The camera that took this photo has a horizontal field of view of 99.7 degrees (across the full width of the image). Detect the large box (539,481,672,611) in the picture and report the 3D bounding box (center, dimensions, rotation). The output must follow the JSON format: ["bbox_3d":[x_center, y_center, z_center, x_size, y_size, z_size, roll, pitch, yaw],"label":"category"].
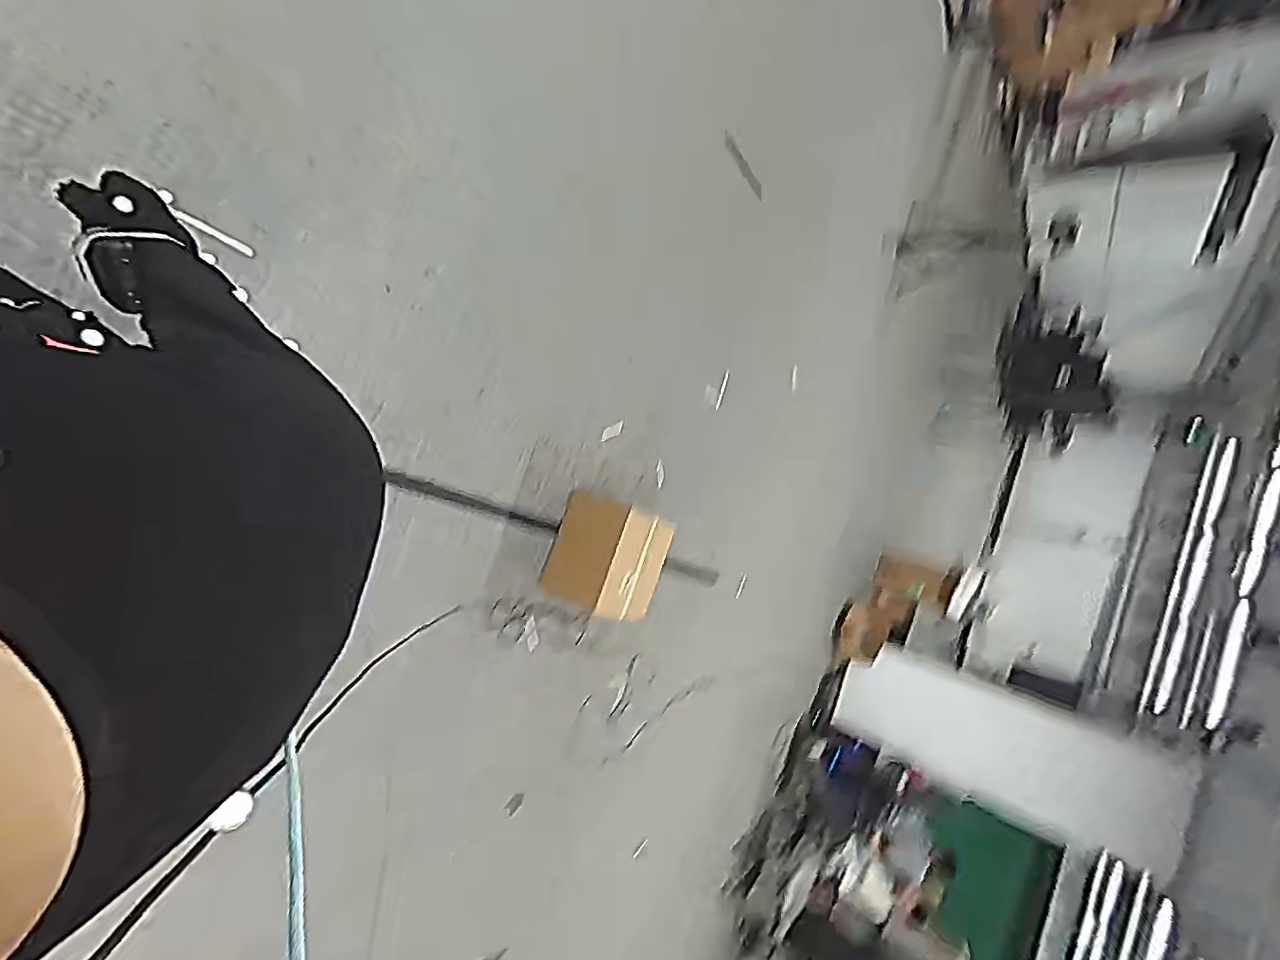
[{"bbox_3d":[-0.131,0.255,2.105,0.320,0.320,0.408,25,83,-51],"label":"large box"}]
